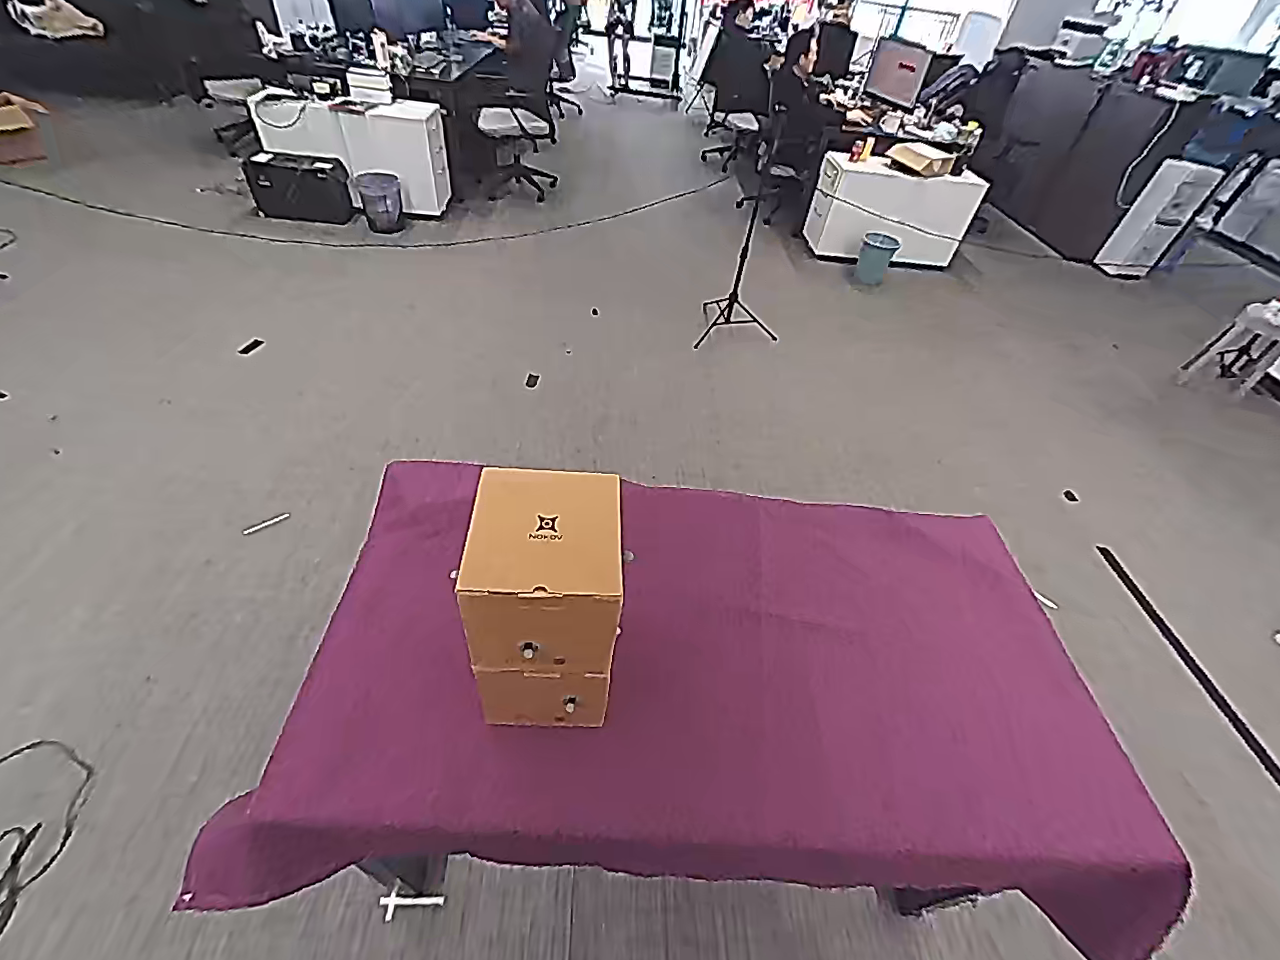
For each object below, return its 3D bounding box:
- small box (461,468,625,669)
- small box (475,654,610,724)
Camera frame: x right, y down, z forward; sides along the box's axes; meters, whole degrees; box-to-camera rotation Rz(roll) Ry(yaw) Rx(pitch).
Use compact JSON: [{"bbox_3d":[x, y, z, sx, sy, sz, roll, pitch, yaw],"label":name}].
[{"bbox_3d":[-0.110,0.109,0.652,0.168,0.176,0.179,3,46,-7],"label":"small box"},{"bbox_3d":[-0.124,0.226,0.762,0.168,0.176,0.179,5,45,-5],"label":"small box"}]
